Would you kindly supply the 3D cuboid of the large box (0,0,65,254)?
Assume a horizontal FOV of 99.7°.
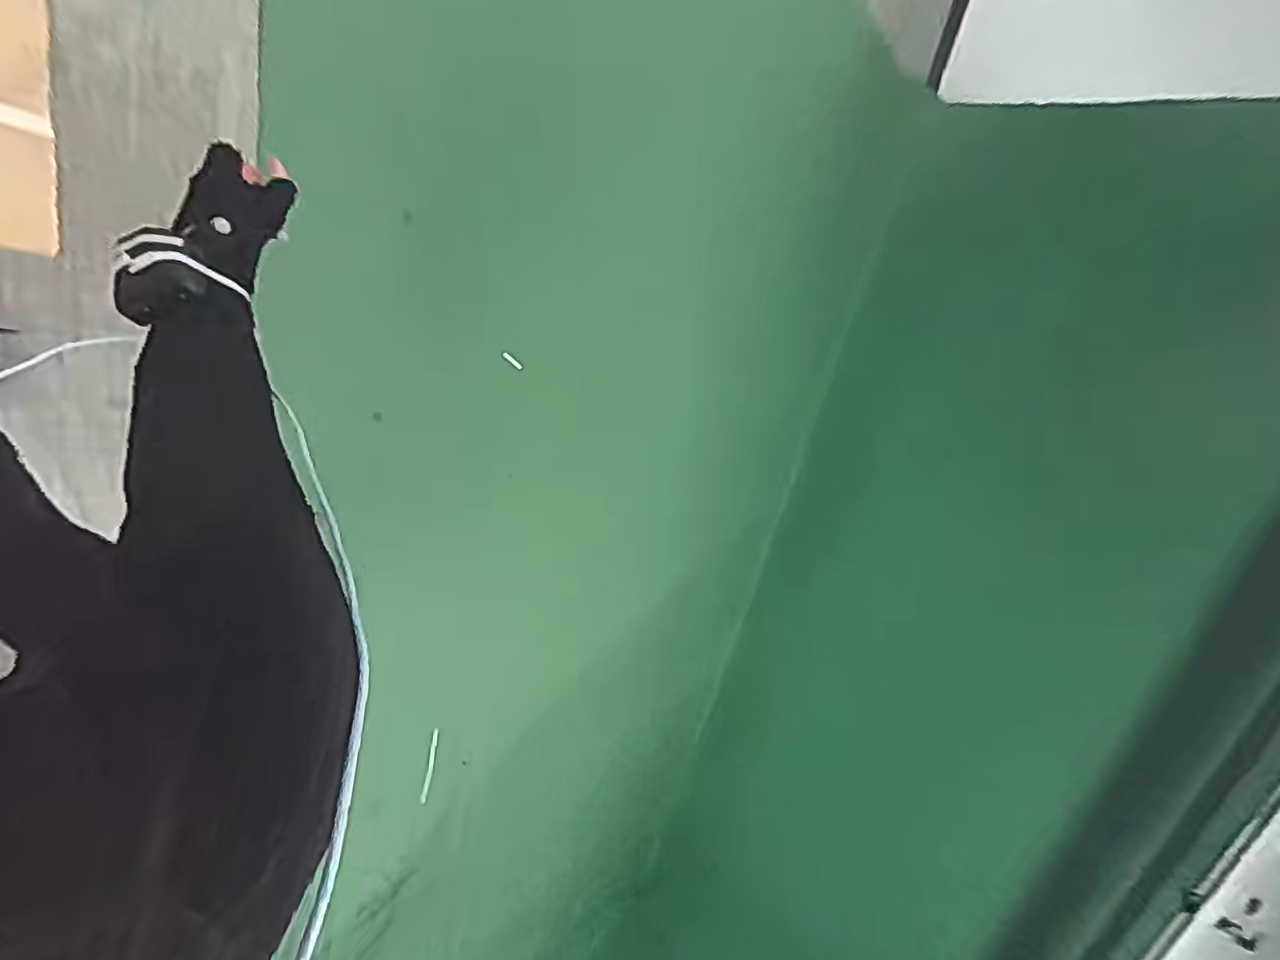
[{"bbox_3d":[-0.978,-0.479,0.616,0.408,0.320,0.320,-6,116,-52],"label":"large box"}]
